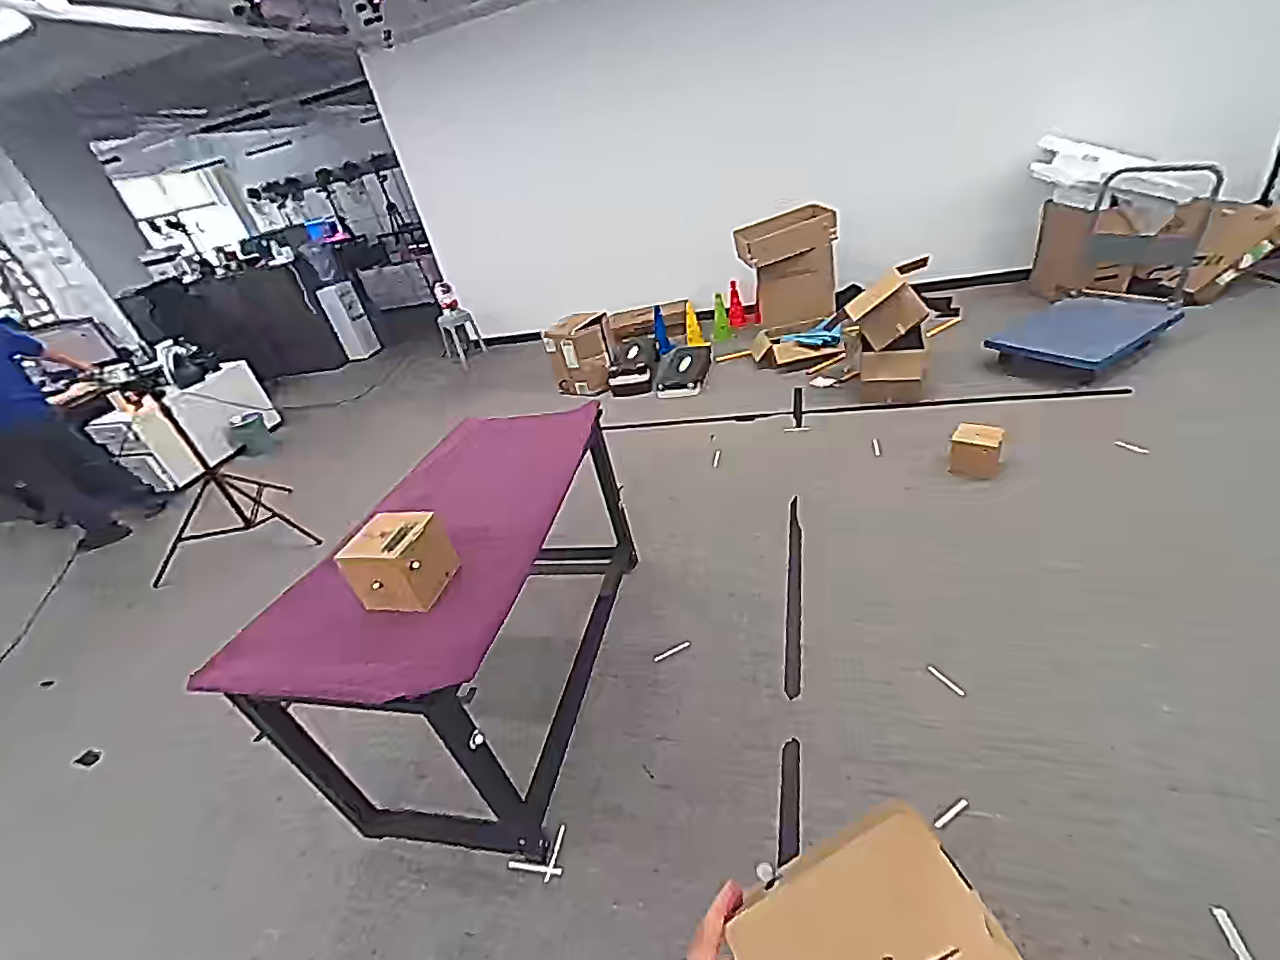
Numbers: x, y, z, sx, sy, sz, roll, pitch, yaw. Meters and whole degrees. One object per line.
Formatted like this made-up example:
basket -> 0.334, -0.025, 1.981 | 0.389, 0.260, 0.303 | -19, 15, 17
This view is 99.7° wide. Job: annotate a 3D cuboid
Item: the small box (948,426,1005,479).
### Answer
small box -> 1.495, -0.121, 2.407 | 0.179, 0.176, 0.168 | 16, 42, 37
